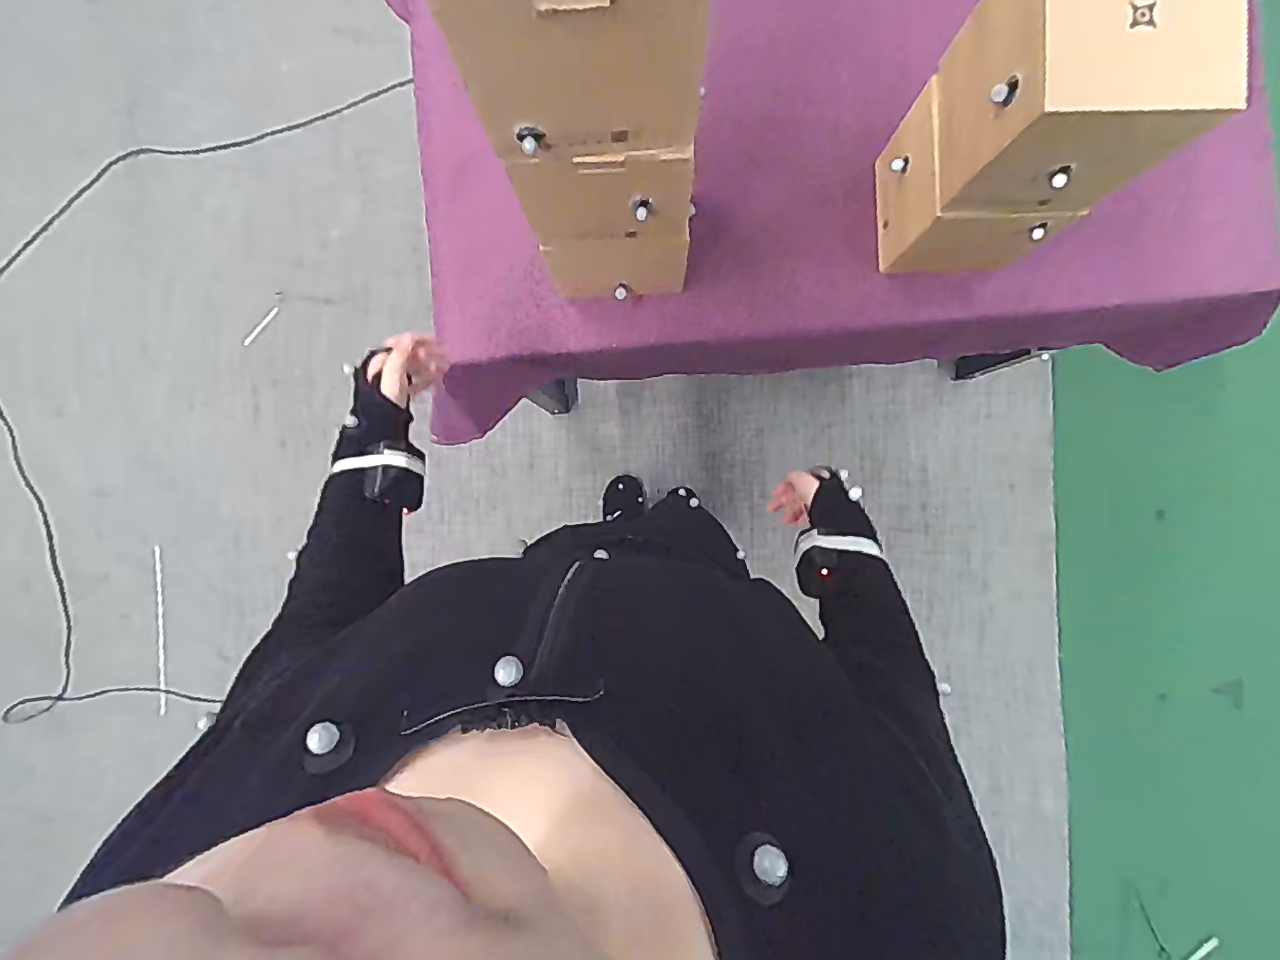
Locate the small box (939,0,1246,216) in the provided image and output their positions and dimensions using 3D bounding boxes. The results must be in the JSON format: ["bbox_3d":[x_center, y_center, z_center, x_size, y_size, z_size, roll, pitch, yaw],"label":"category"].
[{"bbox_3d":[0.416,-0.380,0.526,0.168,0.176,0.179,1,89,1],"label":"small box"}]

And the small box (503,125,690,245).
[{"bbox_3d":[-0.034,-0.353,0.542,0.168,0.176,0.179,0,88,1],"label":"small box"}]

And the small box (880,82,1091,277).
[{"bbox_3d":[0.421,-0.371,0.691,0.179,0.176,0.168,-1,89,1],"label":"small box"}]

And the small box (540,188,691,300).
[{"bbox_3d":[-0.030,-0.345,0.705,0.179,0.176,0.168,-2,89,1],"label":"small box"}]

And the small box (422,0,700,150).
[{"bbox_3d":[-0.046,-0.360,0.378,0.168,0.176,0.179,-4,88,1],"label":"small box"}]
